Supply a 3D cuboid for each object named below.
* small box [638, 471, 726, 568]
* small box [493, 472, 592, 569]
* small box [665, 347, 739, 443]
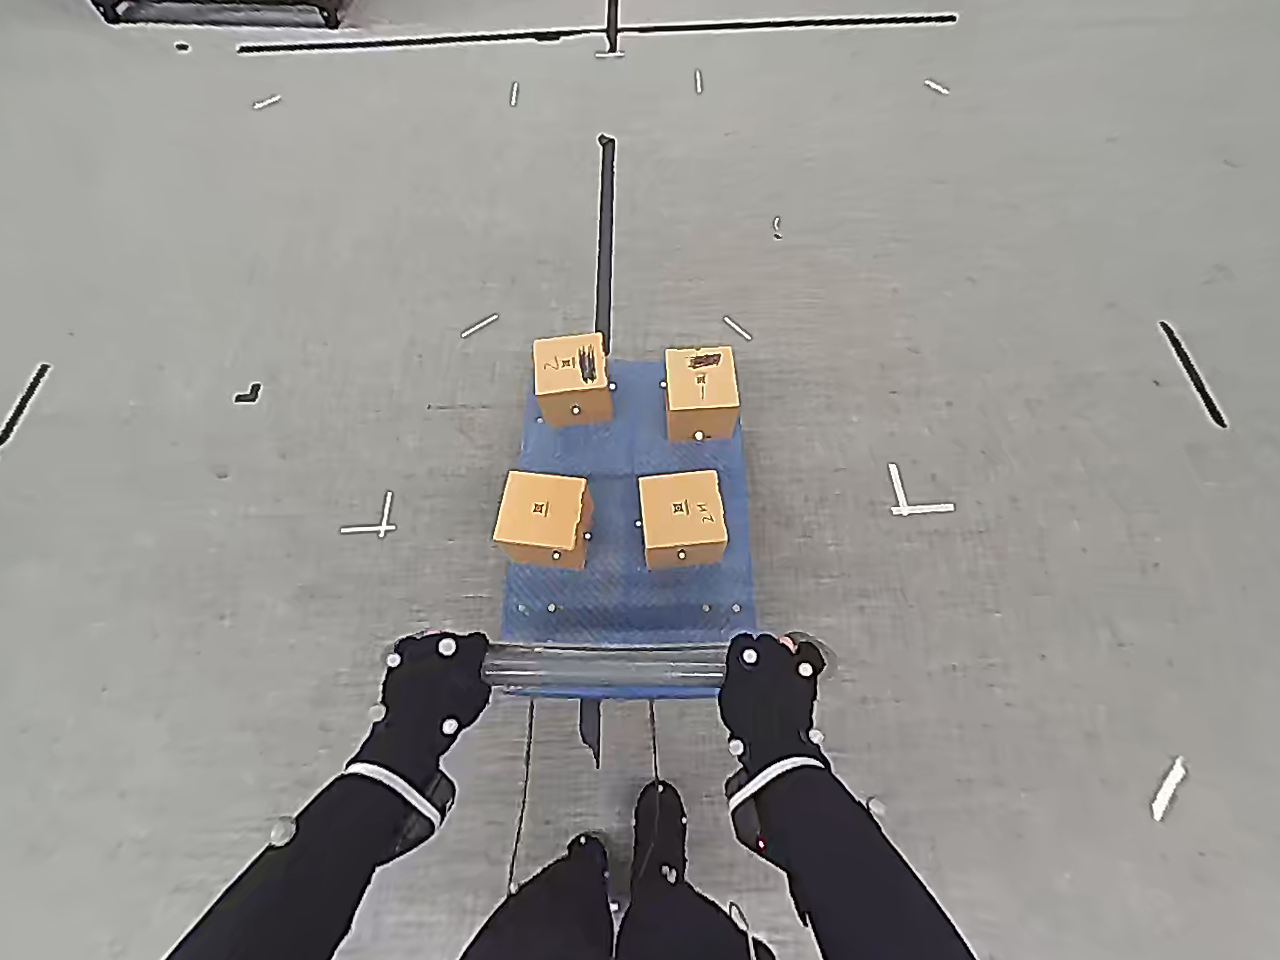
[{"bbox_3d":[0.091,0.095,1.221,0.179,0.176,0.168,-5,66,0],"label":"small box"},{"bbox_3d":[-0.213,0.097,1.230,0.179,0.176,0.168,6,65,3],"label":"small box"},{"bbox_3d":[0.148,-0.210,1.357,0.168,0.176,0.179,-3,66,1],"label":"small box"}]
